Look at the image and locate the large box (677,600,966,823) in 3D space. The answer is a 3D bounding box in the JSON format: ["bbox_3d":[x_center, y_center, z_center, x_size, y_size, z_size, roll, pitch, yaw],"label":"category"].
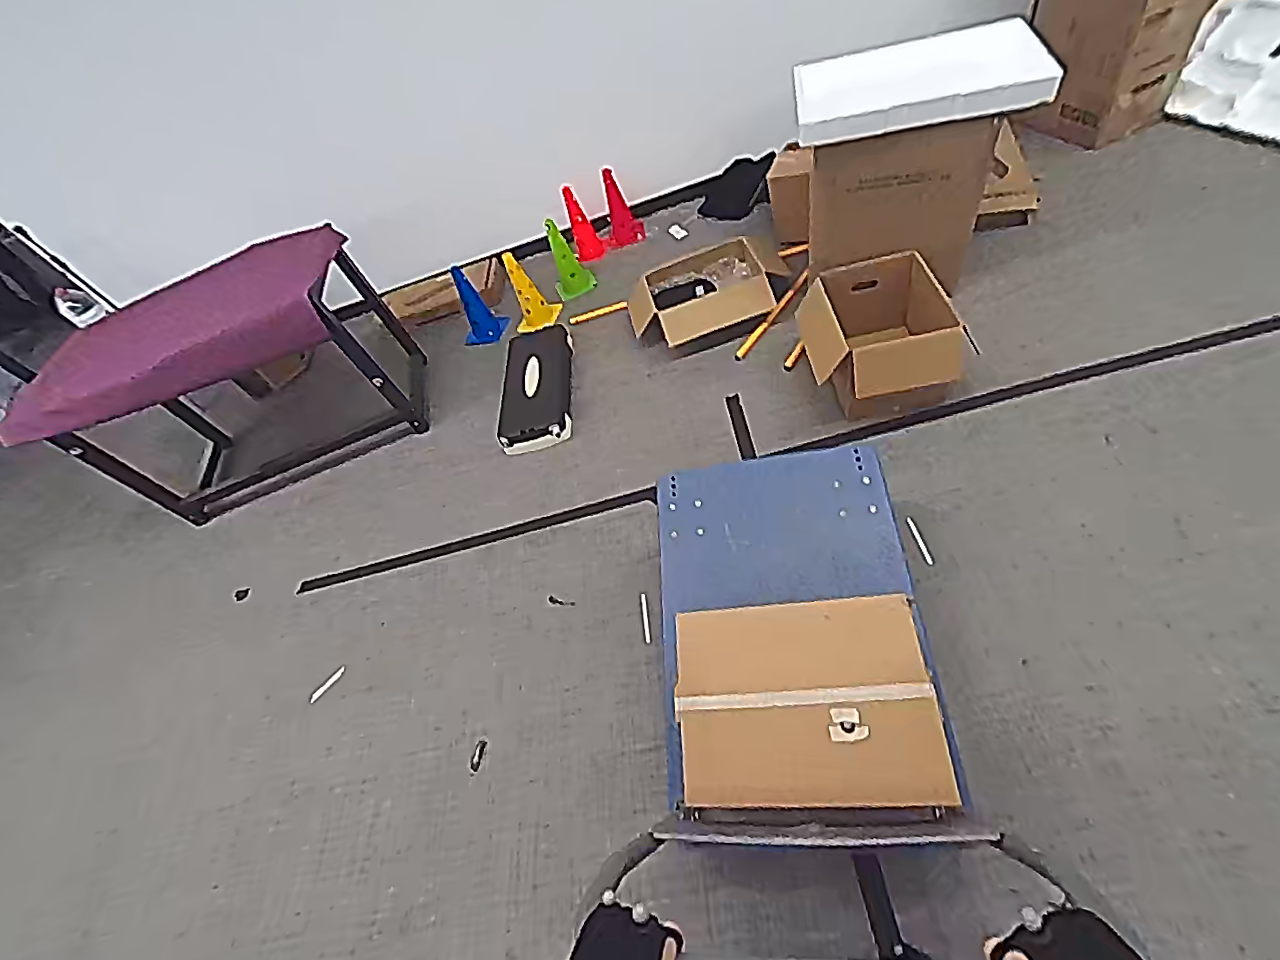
[{"bbox_3d":[0.299,0.431,0.994,0.408,0.320,0.320,-8,62,12],"label":"large box"}]
